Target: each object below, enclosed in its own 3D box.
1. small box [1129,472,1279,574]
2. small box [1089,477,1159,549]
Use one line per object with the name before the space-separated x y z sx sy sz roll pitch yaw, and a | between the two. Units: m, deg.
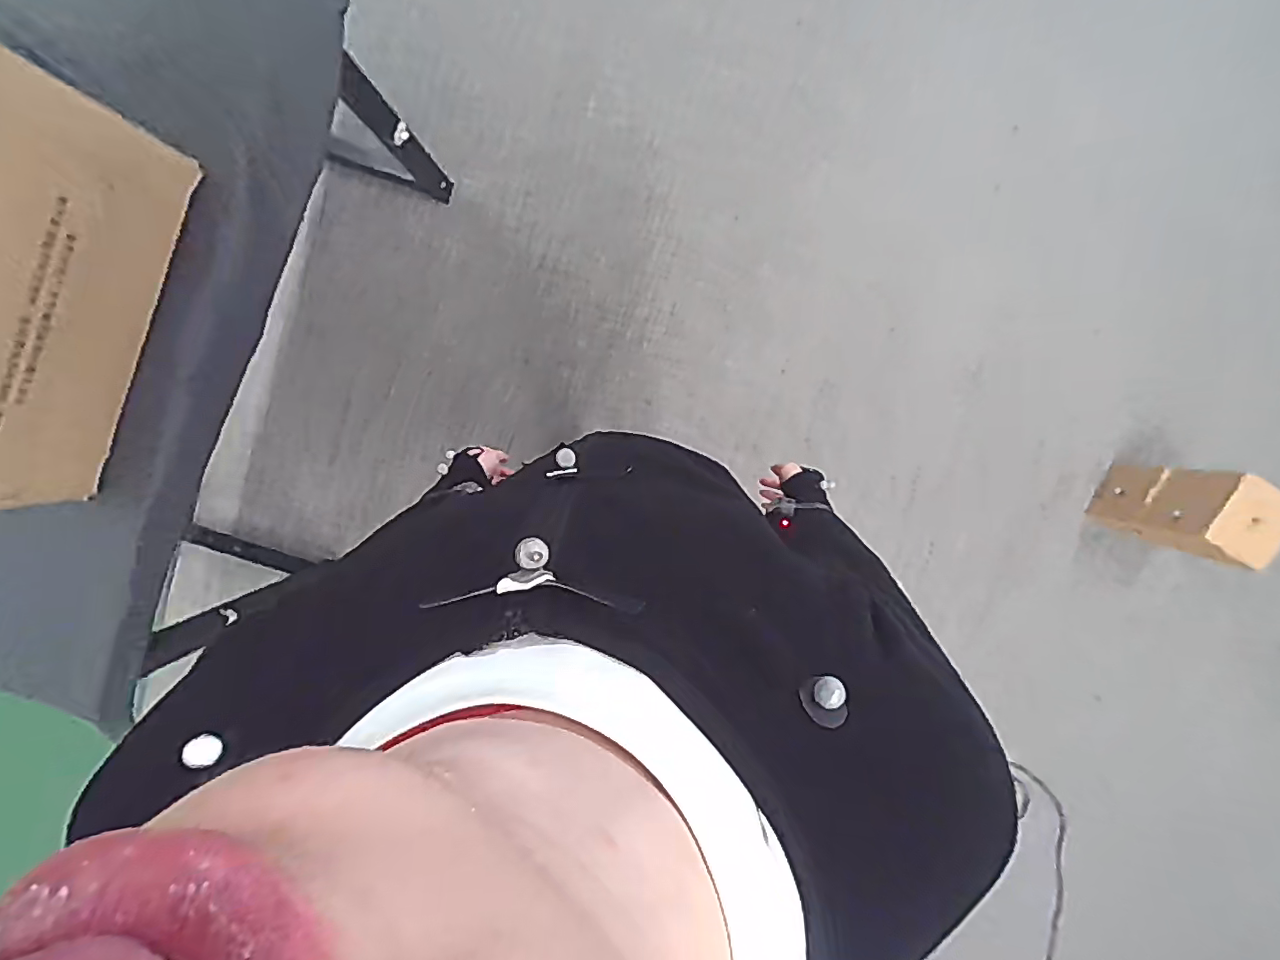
small box | 1.352 0.096 1.306 0.168 0.176 0.179 31 93 -4
small box | 1.361 0.082 1.460 0.168 0.176 0.179 -4 93 -1
